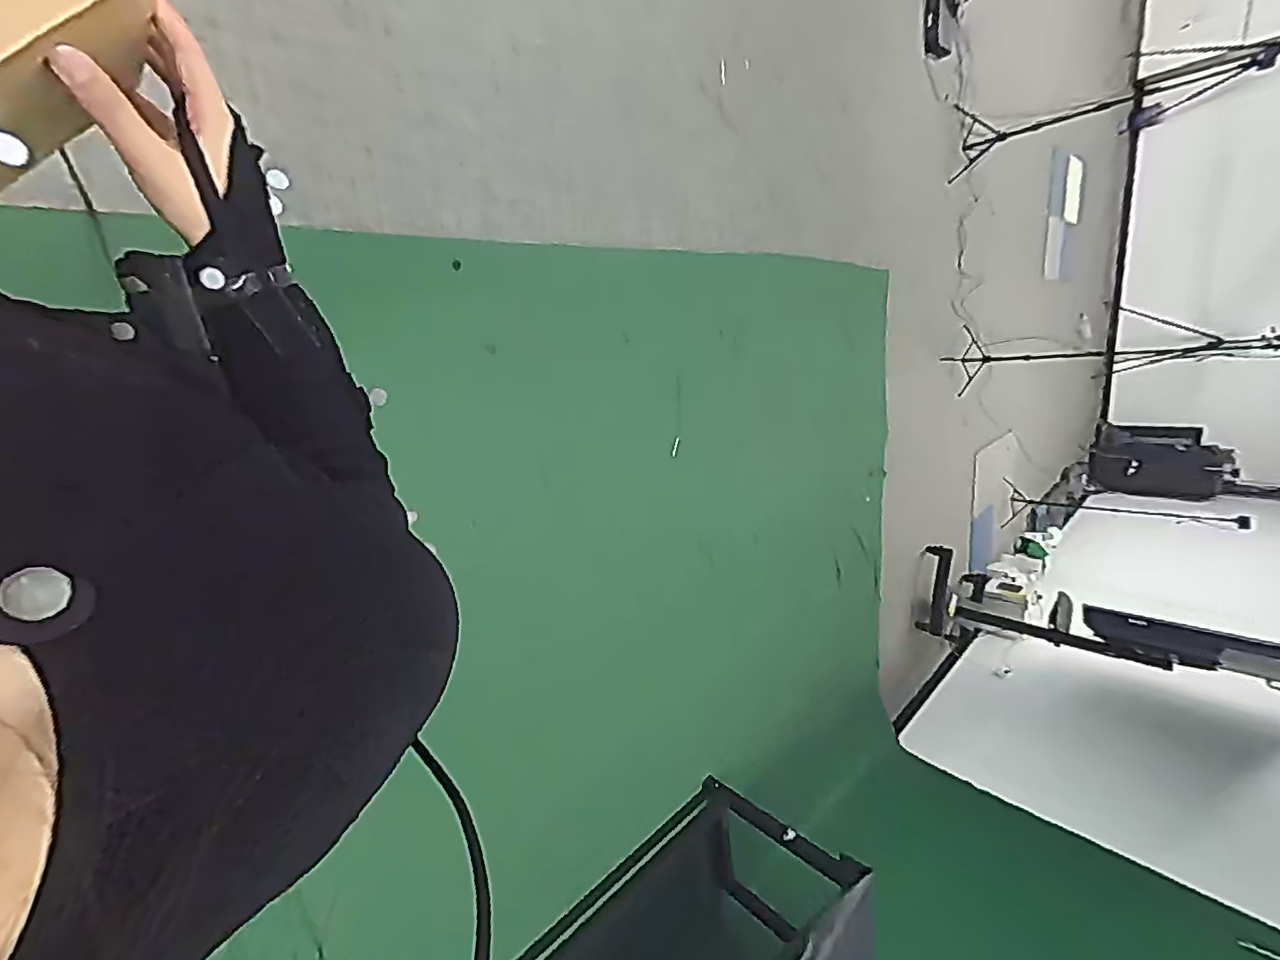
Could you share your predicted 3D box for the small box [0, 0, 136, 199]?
[{"bbox_3d":[-0.368,-0.229,0.234,0.168,0.176,0.179,47,65,-40],"label":"small box"}]
